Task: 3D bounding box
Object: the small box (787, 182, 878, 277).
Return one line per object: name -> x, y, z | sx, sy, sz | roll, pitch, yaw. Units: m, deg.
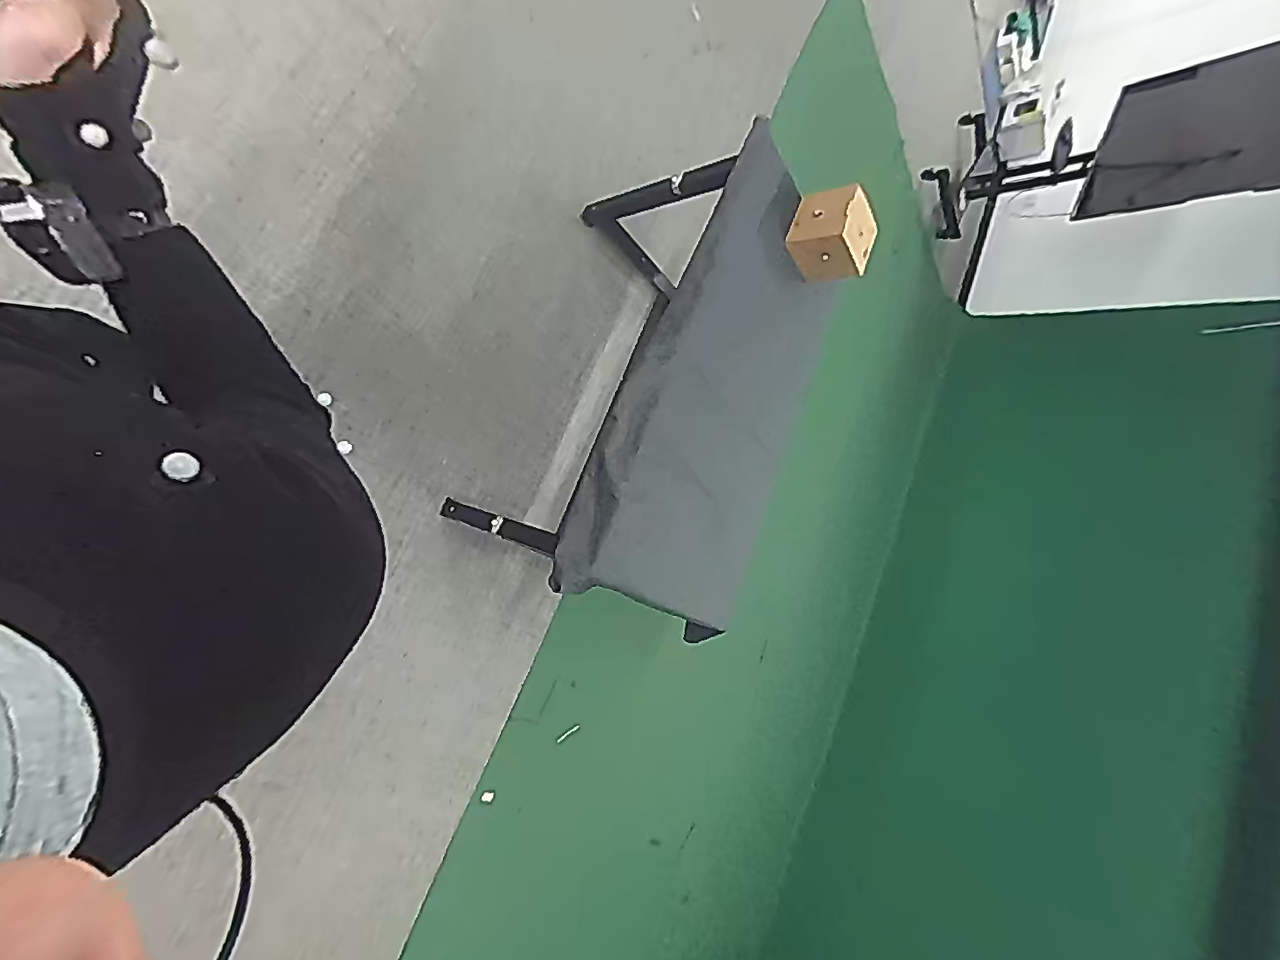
small box -> 0.541, -0.694, 1.524 | 0.179, 0.176, 0.168 | 33, 76, -44
